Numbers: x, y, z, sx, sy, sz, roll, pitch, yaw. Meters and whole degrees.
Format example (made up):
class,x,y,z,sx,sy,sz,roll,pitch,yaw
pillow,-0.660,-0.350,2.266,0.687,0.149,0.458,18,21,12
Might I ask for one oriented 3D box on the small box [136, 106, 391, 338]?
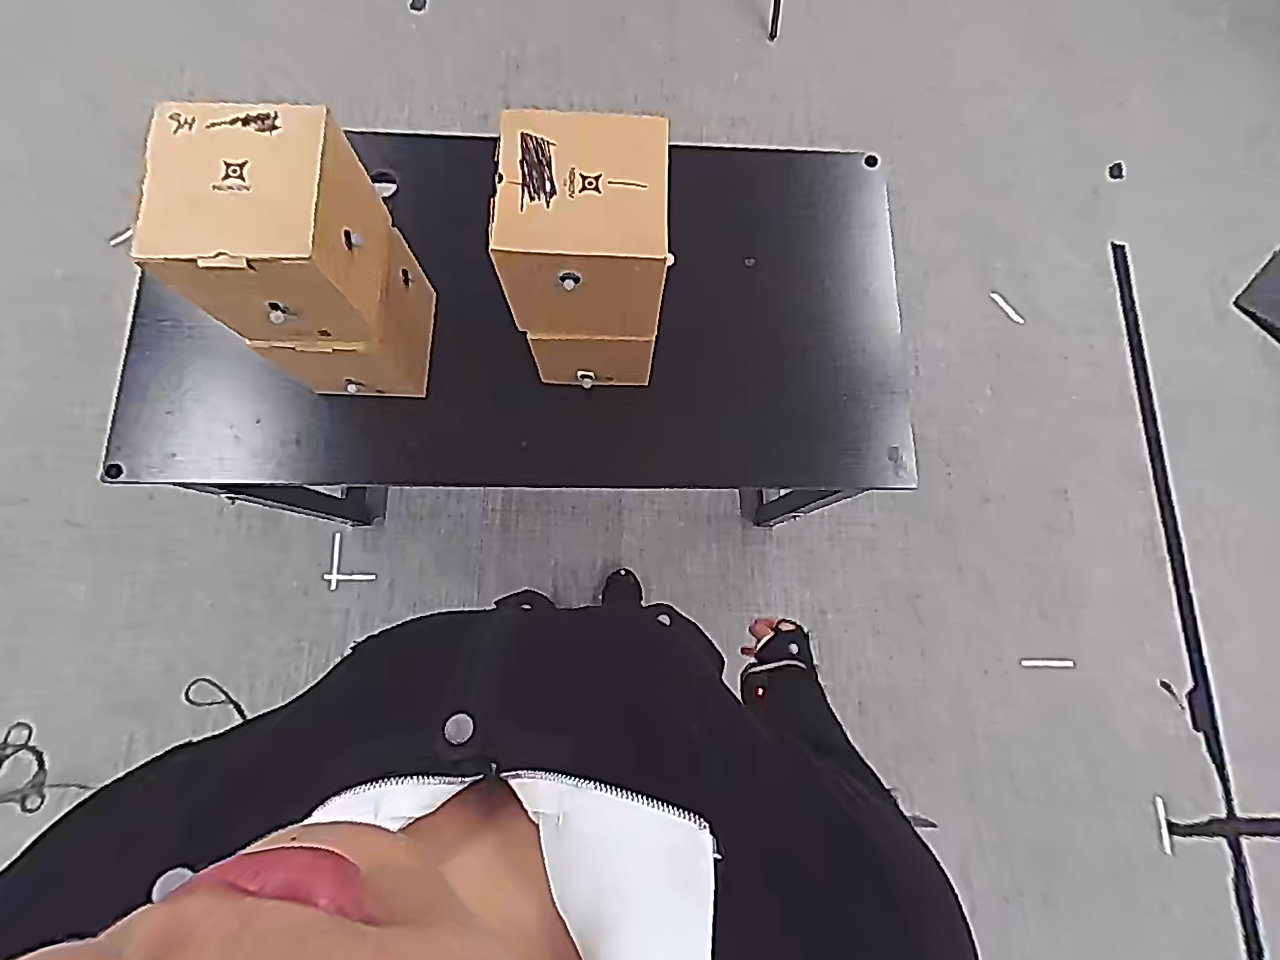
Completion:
class,x,y,z,sx,sy,sz,roll,pitch,yaw
small box,-0.393,-0.269,0.599,0.168,0.176,0.179,-1,79,-4

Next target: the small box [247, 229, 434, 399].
class,x,y,z,sx,sy,sz,roll,pitch,yaw
small box,-0.400,-0.228,0.758,0.168,0.176,0.179,2,79,-3

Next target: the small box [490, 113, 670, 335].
class,x,y,z,sx,sy,sz,roll,pitch,yaw
small box,-0.061,-0.280,0.622,0.179,0.176,0.168,2,79,-3

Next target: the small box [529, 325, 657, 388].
class,x,y,z,sx,sy,sz,roll,pitch,yaw
small box,-0.064,-0.247,0.784,0.168,0.176,0.179,-1,80,-2
